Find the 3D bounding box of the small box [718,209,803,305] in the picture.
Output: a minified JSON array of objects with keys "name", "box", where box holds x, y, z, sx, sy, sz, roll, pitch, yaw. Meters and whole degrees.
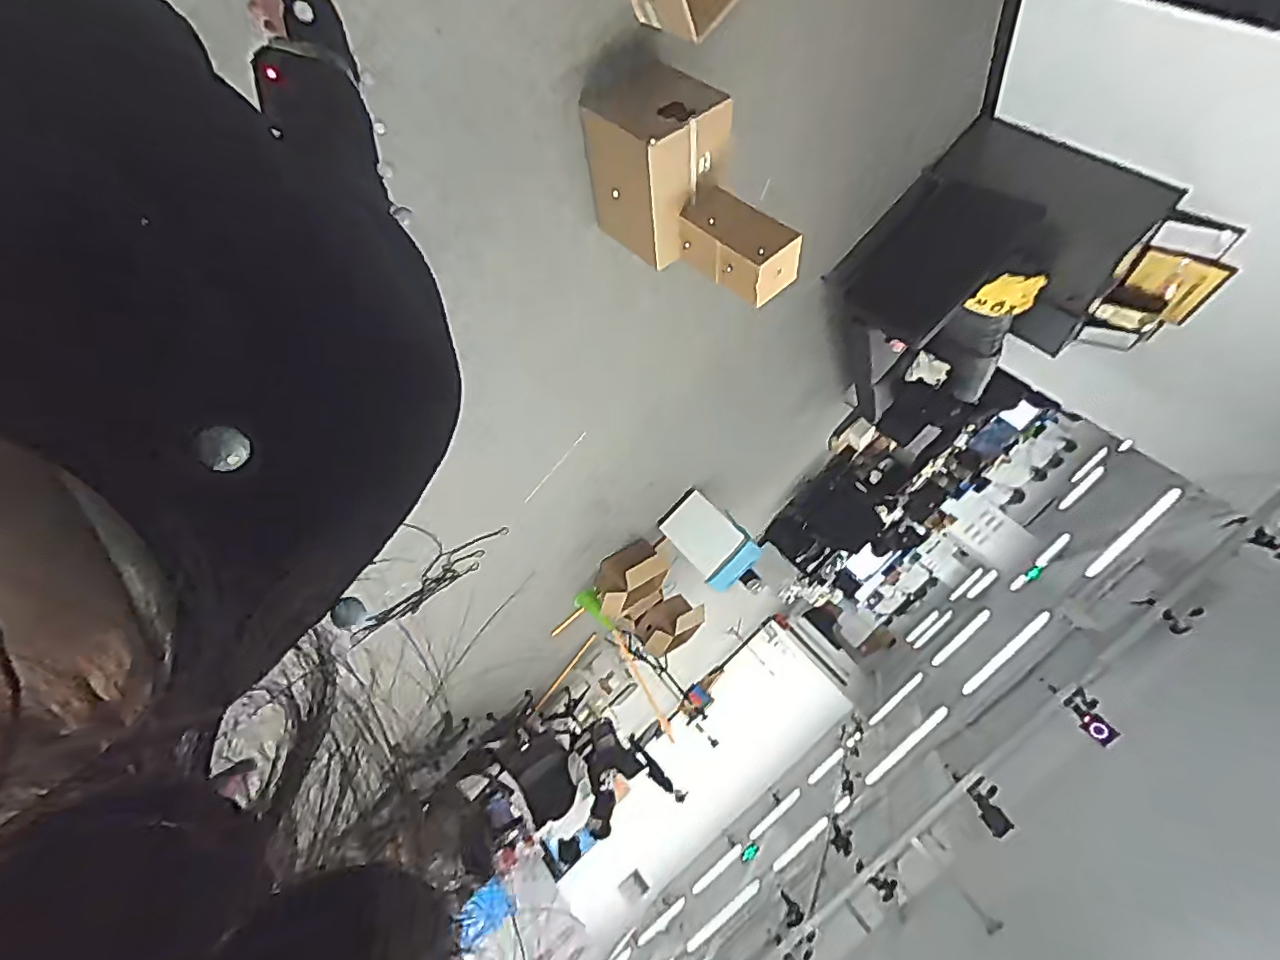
[{"name":"small box","box":[0.355,-0.669,1.614,0.179,0.176,0.168,-39,154,-11]}]
